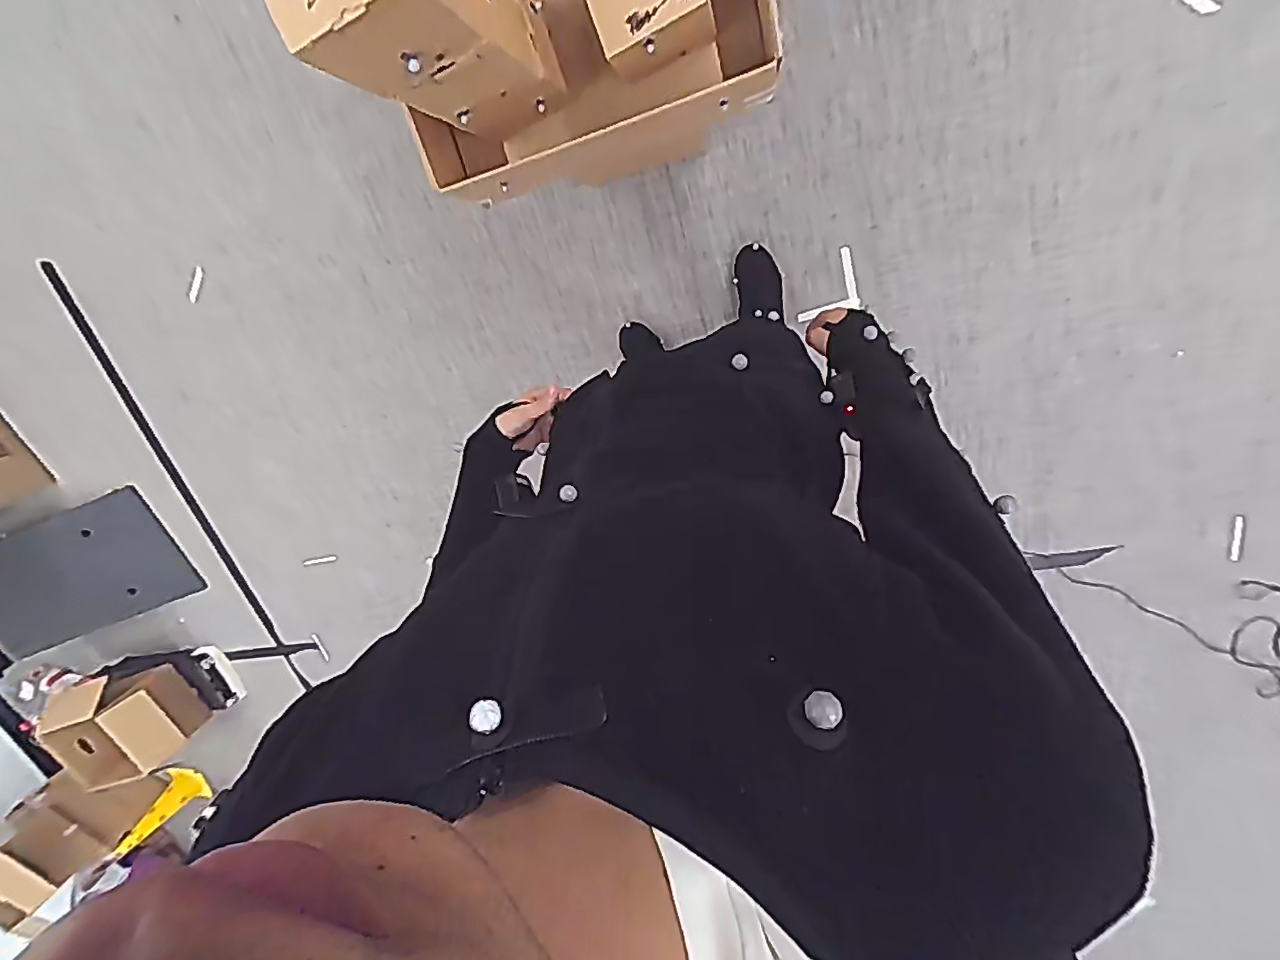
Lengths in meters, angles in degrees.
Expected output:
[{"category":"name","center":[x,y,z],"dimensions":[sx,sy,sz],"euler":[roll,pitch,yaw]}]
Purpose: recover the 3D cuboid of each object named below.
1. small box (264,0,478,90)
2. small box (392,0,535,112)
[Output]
[{"category":"small box","center":[-0.317,-0.590,0.609],"dimensions":[0.168,0.176,0.179],"euler":[-16,108,18]},{"category":"small box","center":[-0.272,-0.649,0.757],"dimensions":[0.168,0.176,0.179],"euler":[-14,108,17]}]
